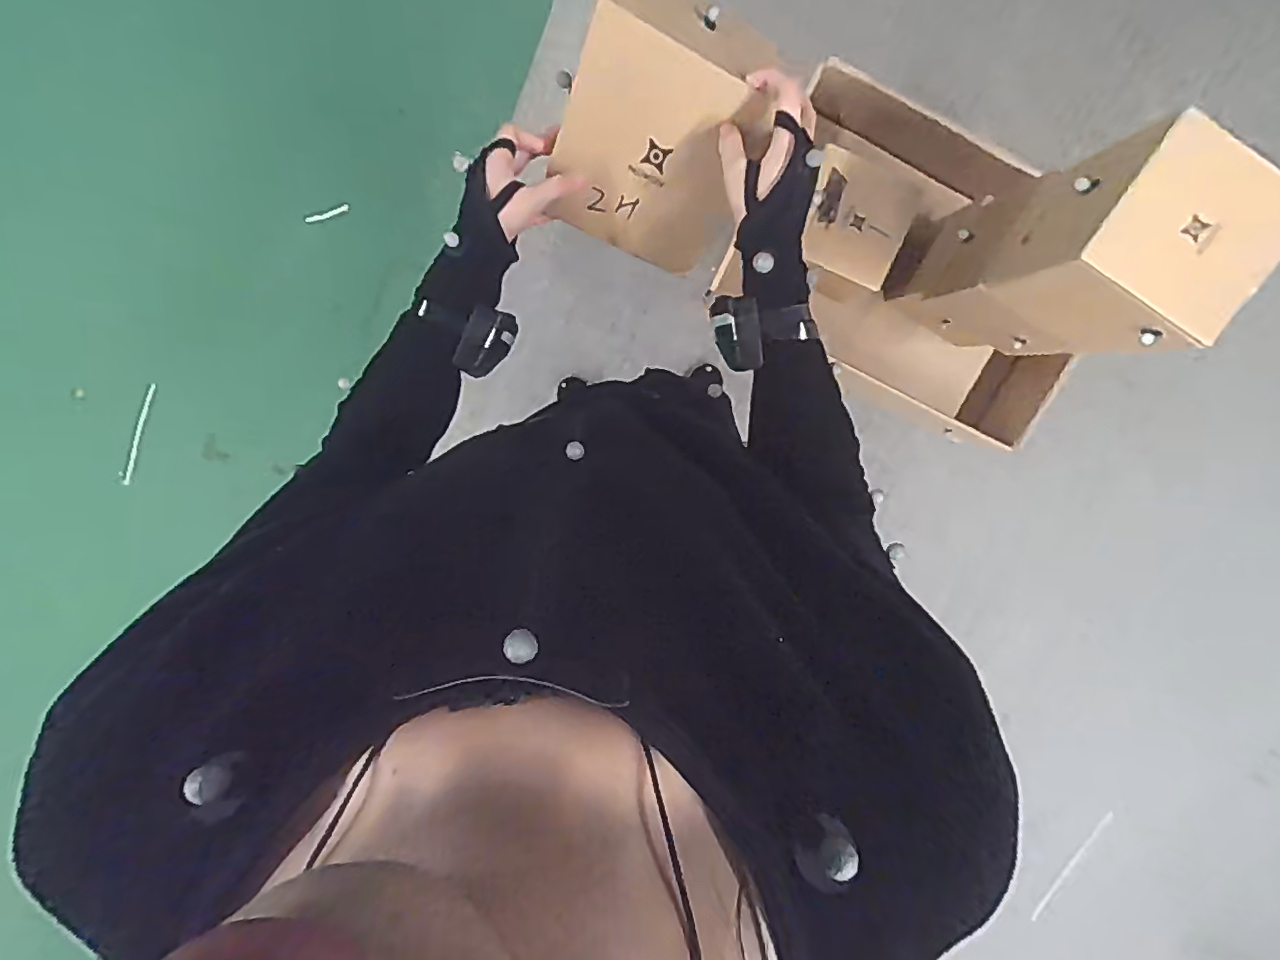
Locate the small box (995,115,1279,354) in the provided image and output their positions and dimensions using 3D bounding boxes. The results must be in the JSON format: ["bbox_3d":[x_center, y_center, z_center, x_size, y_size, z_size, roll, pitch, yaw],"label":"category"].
[{"bbox_3d":[0.561,-0.254,0.614,0.179,0.176,0.168,31,101,-4],"label":"small box"}]

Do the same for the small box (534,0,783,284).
[{"bbox_3d":[0.012,-0.336,0.519,0.168,0.176,0.179,19,143,-17],"label":"small box"}]

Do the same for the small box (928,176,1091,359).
[{"bbox_3d":[0.563,-0.288,0.772,0.179,0.176,0.168,30,101,-4],"label":"small box"}]
